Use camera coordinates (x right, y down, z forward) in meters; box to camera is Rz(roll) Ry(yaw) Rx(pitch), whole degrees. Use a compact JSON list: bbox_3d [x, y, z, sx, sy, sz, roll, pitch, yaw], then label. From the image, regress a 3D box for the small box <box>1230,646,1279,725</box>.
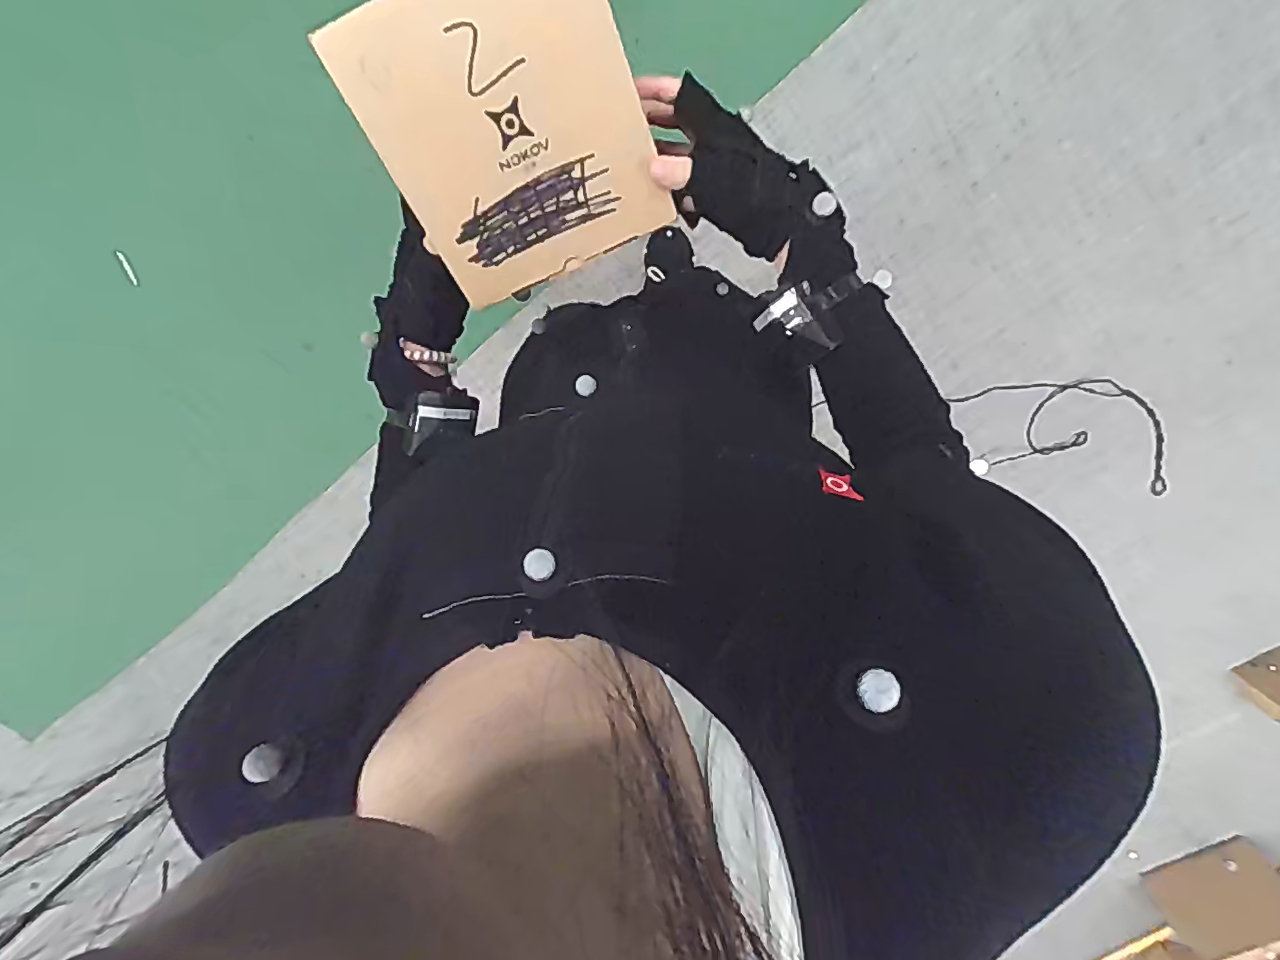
[{"bbox_3d":[2.064,0.667,1.721,0.168,0.176,0.179,-38,108,15],"label":"small box"}]
